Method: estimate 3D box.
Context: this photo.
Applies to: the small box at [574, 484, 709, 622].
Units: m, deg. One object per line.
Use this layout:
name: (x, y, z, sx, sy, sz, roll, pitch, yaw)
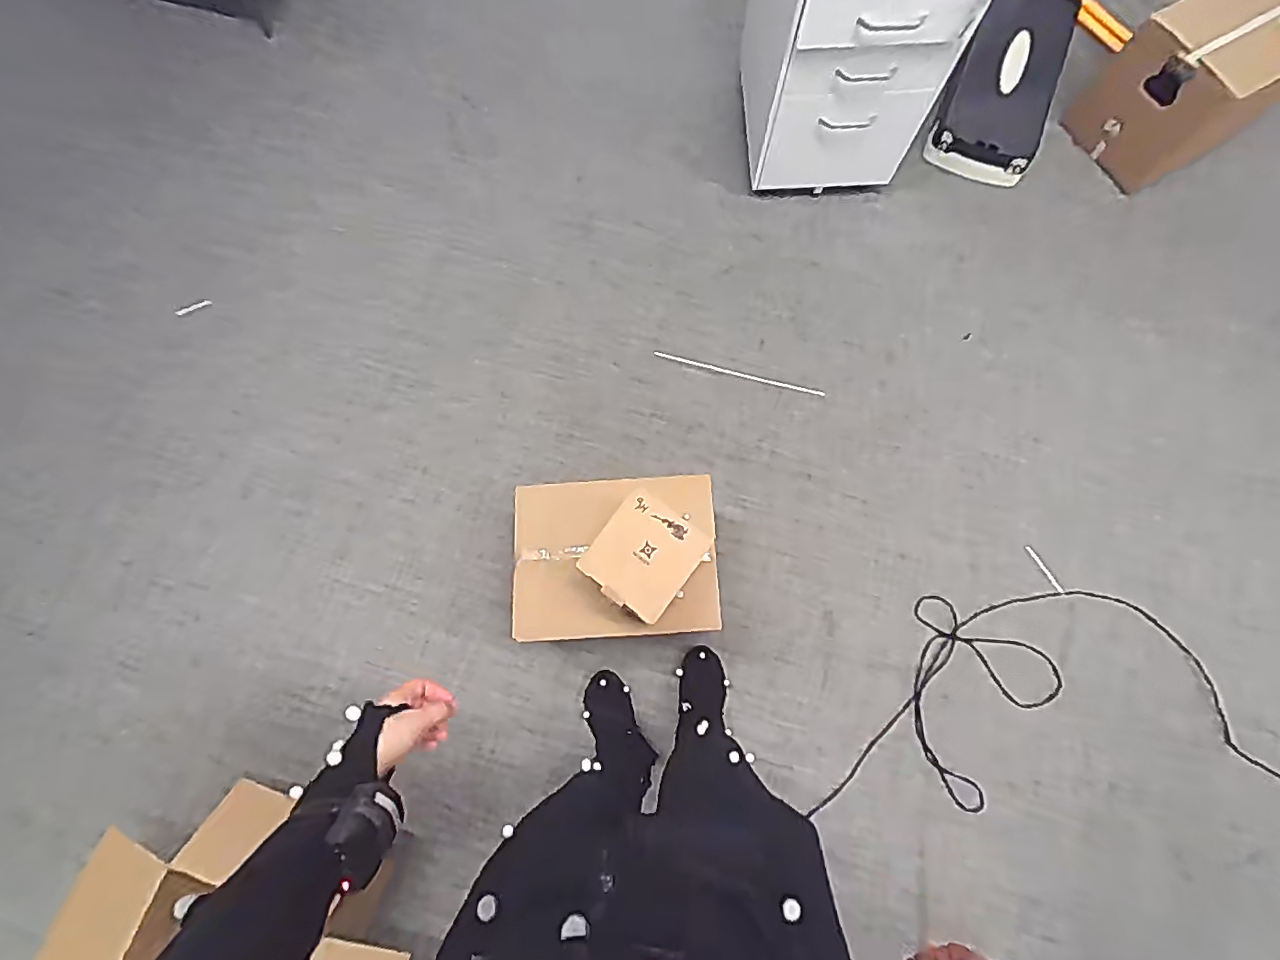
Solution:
small box: (0.007, 0.136, 0.985, 0.168, 0.176, 0.179, 37, 82, 9)
